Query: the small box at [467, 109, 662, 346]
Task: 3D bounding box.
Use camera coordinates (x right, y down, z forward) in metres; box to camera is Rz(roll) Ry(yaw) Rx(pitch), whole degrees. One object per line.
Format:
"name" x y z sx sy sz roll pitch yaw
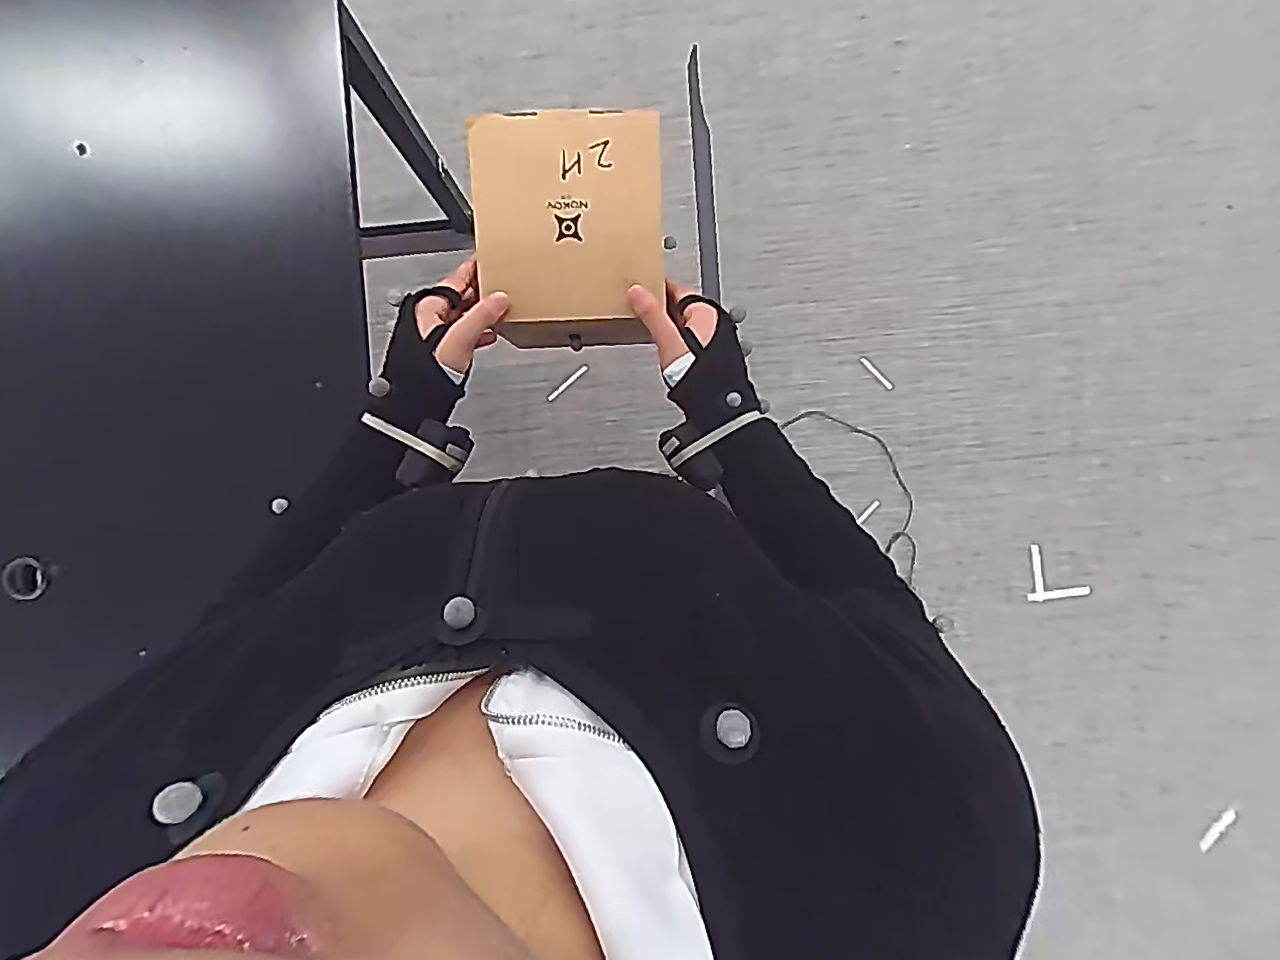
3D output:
"small box" -0.064 -0.235 0.549 0.168 0.176 0.179 -3 95 -1
